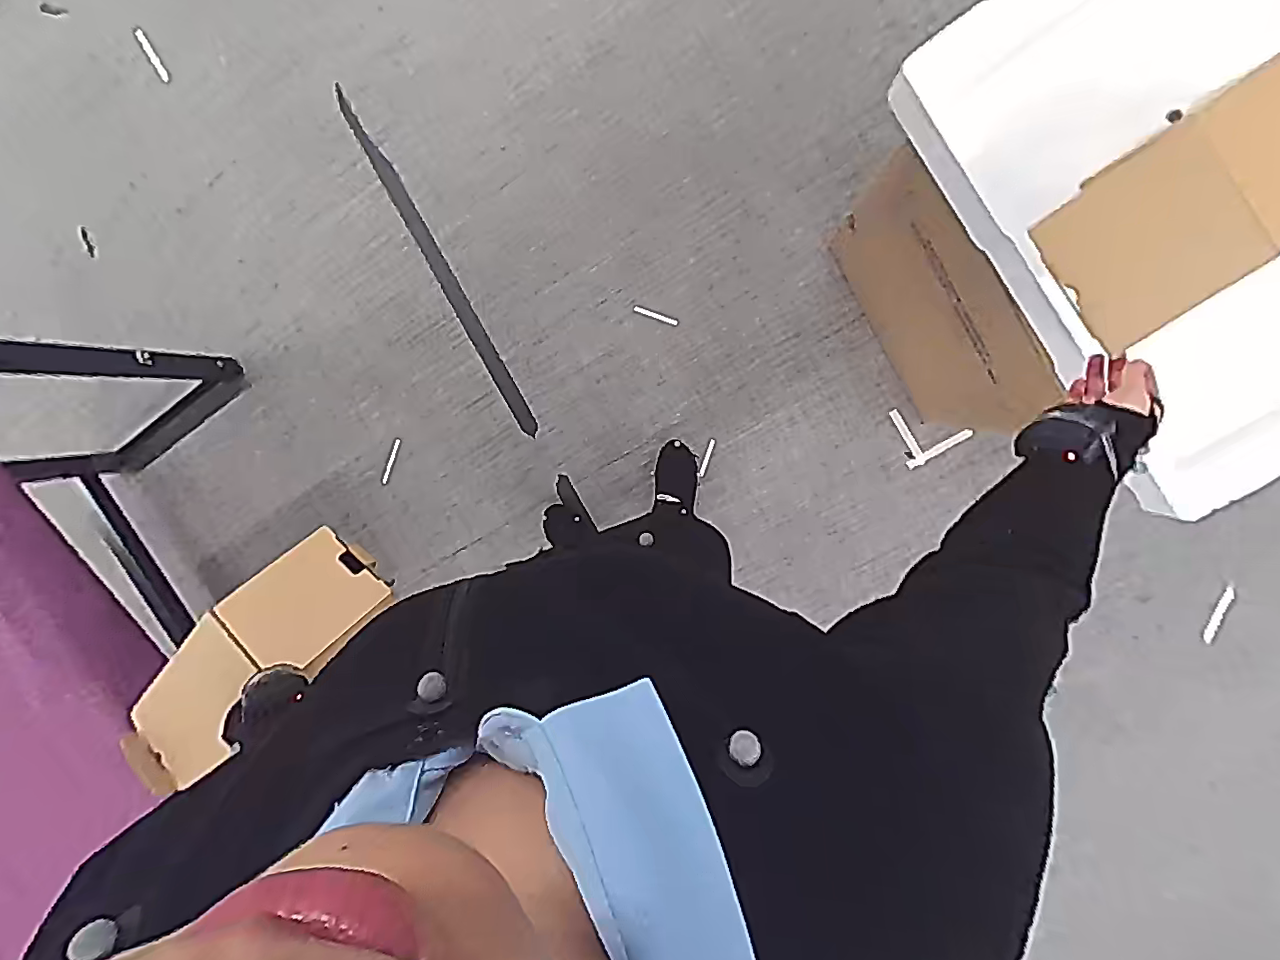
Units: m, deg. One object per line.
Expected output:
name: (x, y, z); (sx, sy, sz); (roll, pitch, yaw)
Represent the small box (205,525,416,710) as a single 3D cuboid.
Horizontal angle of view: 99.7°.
small box: (-0.466, 0.207, 0.795); (0.168, 0.176, 0.179); (37, 62, 18)
